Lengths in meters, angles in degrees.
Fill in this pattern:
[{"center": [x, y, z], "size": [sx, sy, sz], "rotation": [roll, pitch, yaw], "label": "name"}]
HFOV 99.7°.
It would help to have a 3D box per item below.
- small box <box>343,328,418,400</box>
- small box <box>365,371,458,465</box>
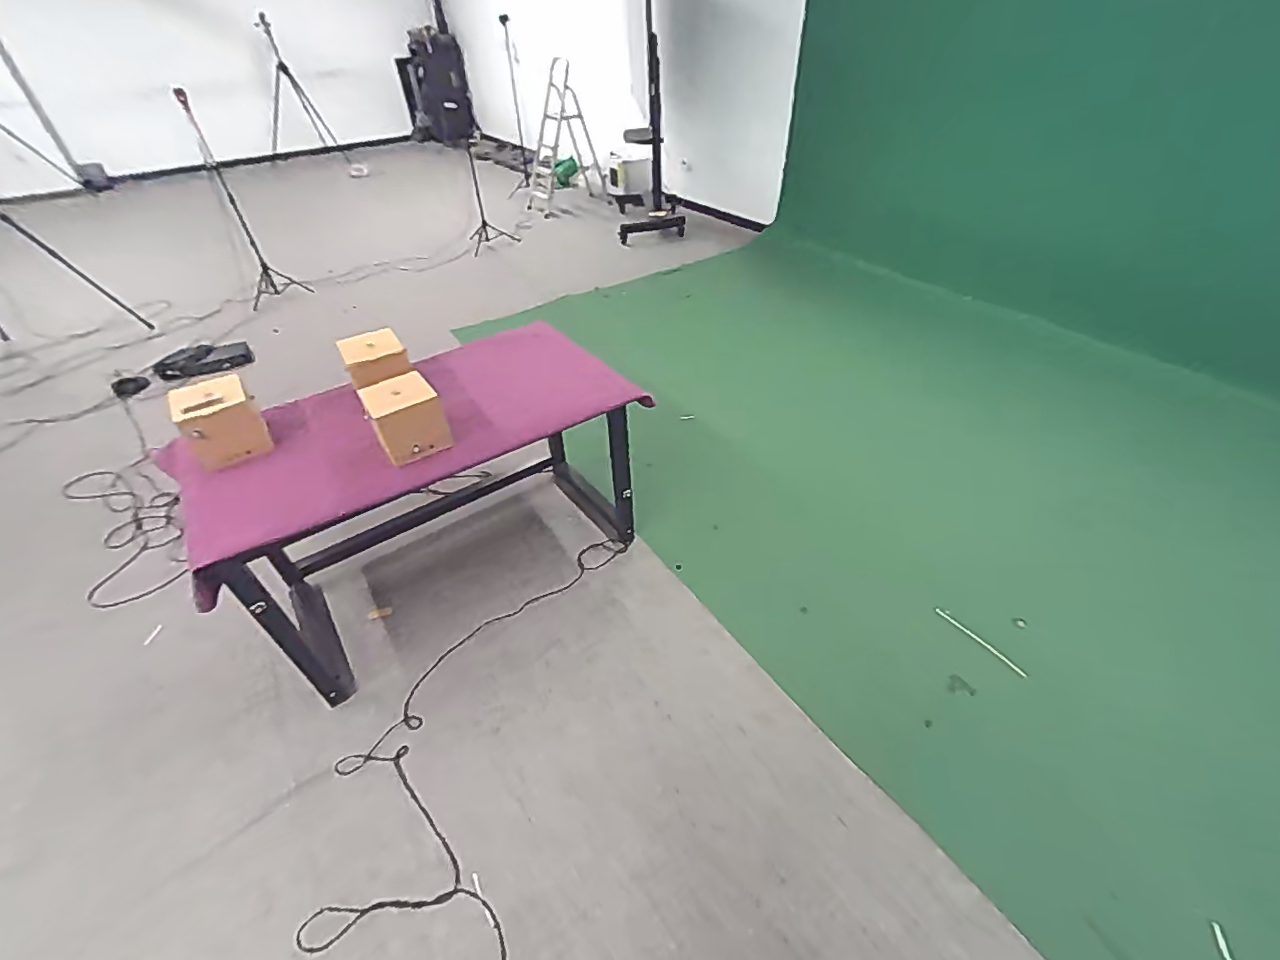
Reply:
[{"center": [-0.803, -0.348, 1.702], "size": [0.168, 0.176, 0.179], "rotation": [-25, 48, -22], "label": "small box"}, {"center": [-0.628, -0.170, 1.492], "size": [0.168, 0.176, 0.179], "rotation": [-28, 46, -23], "label": "small box"}]
